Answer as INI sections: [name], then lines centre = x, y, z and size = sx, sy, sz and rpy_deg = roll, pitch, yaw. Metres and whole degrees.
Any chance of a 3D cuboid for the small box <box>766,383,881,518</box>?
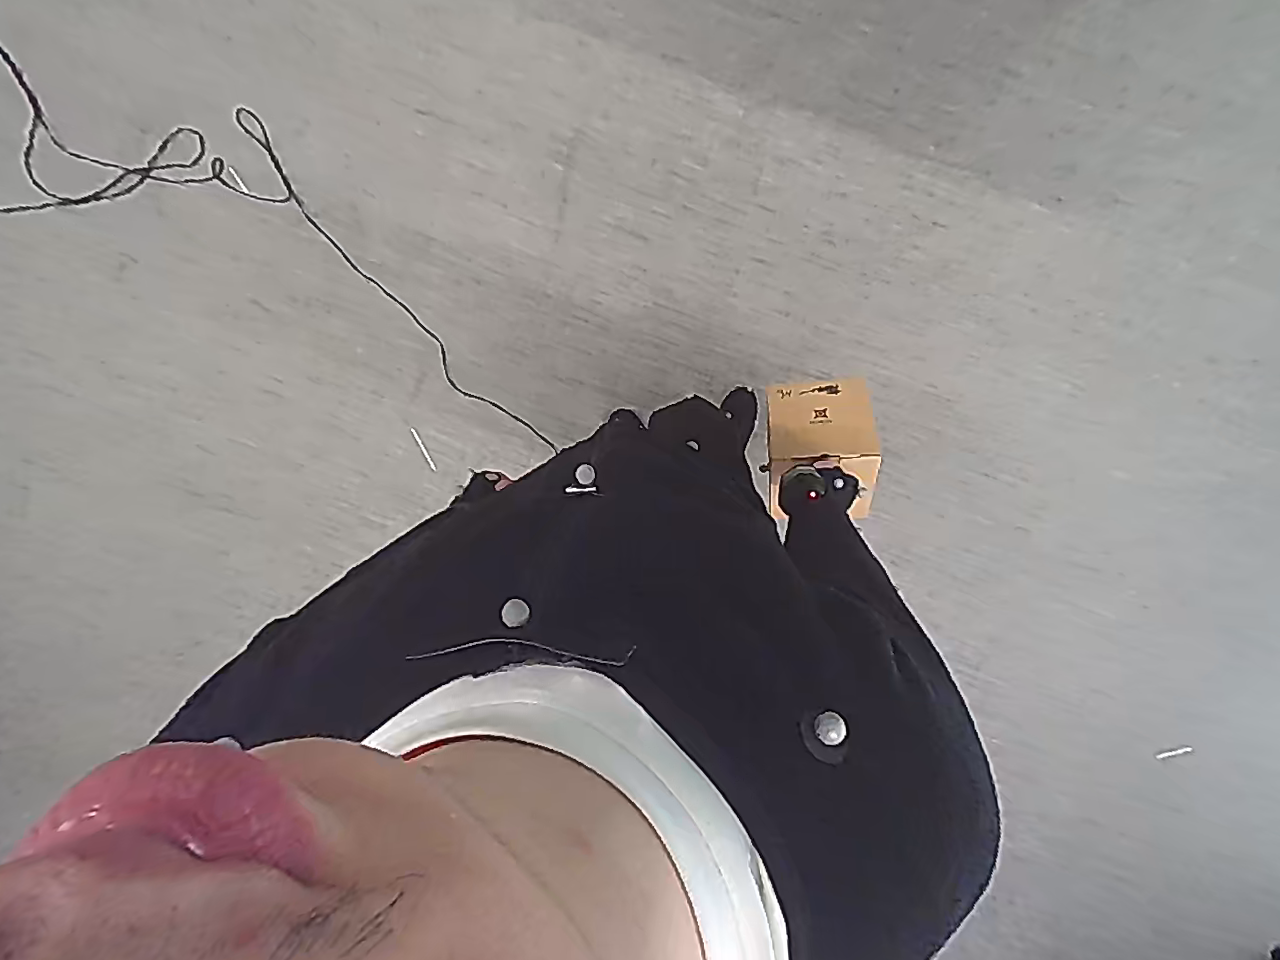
[small box]
centre = 0.312, -0.044, 0.948
size = 0.168, 0.179, 0.176
rpy_deg = -4, 141, 11
